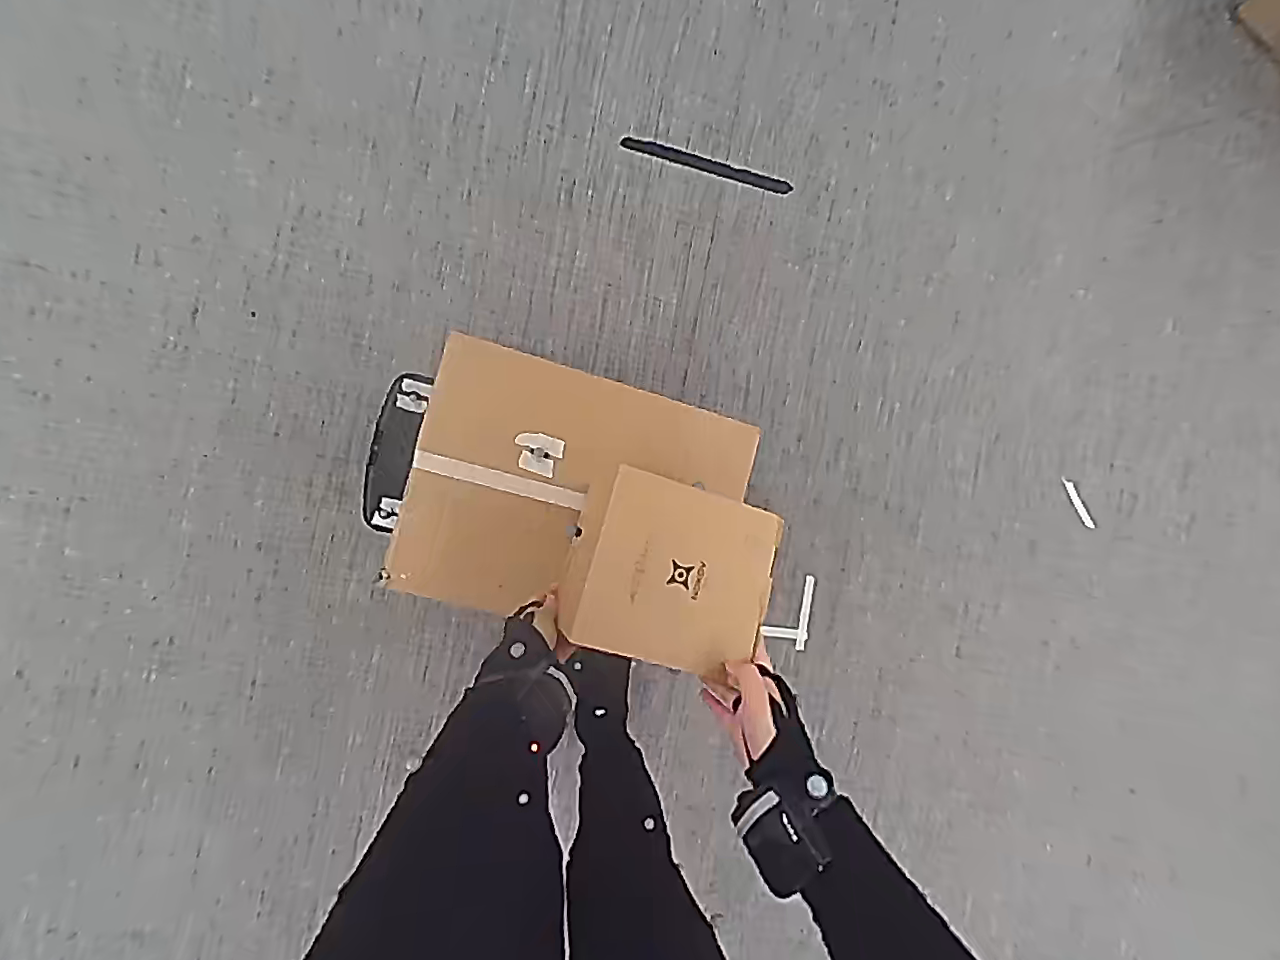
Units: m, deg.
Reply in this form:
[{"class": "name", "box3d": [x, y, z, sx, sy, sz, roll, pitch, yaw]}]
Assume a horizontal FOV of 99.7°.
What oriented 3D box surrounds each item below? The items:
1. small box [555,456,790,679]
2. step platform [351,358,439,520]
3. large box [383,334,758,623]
[{"class": "small box", "box3d": [0.023, 0.087, 0.565, 0.179, 0.176, 0.168, 19, 80, -12]}, {"class": "step platform", "box3d": [-0.163, 0.008, 1.037, 0.684, 0.204, 0.286, 18, 89, -9]}, {"class": "large box", "box3d": [-0.095, 0.018, 0.807, 0.408, 0.320, 0.320, 16, 88, -9]}]
